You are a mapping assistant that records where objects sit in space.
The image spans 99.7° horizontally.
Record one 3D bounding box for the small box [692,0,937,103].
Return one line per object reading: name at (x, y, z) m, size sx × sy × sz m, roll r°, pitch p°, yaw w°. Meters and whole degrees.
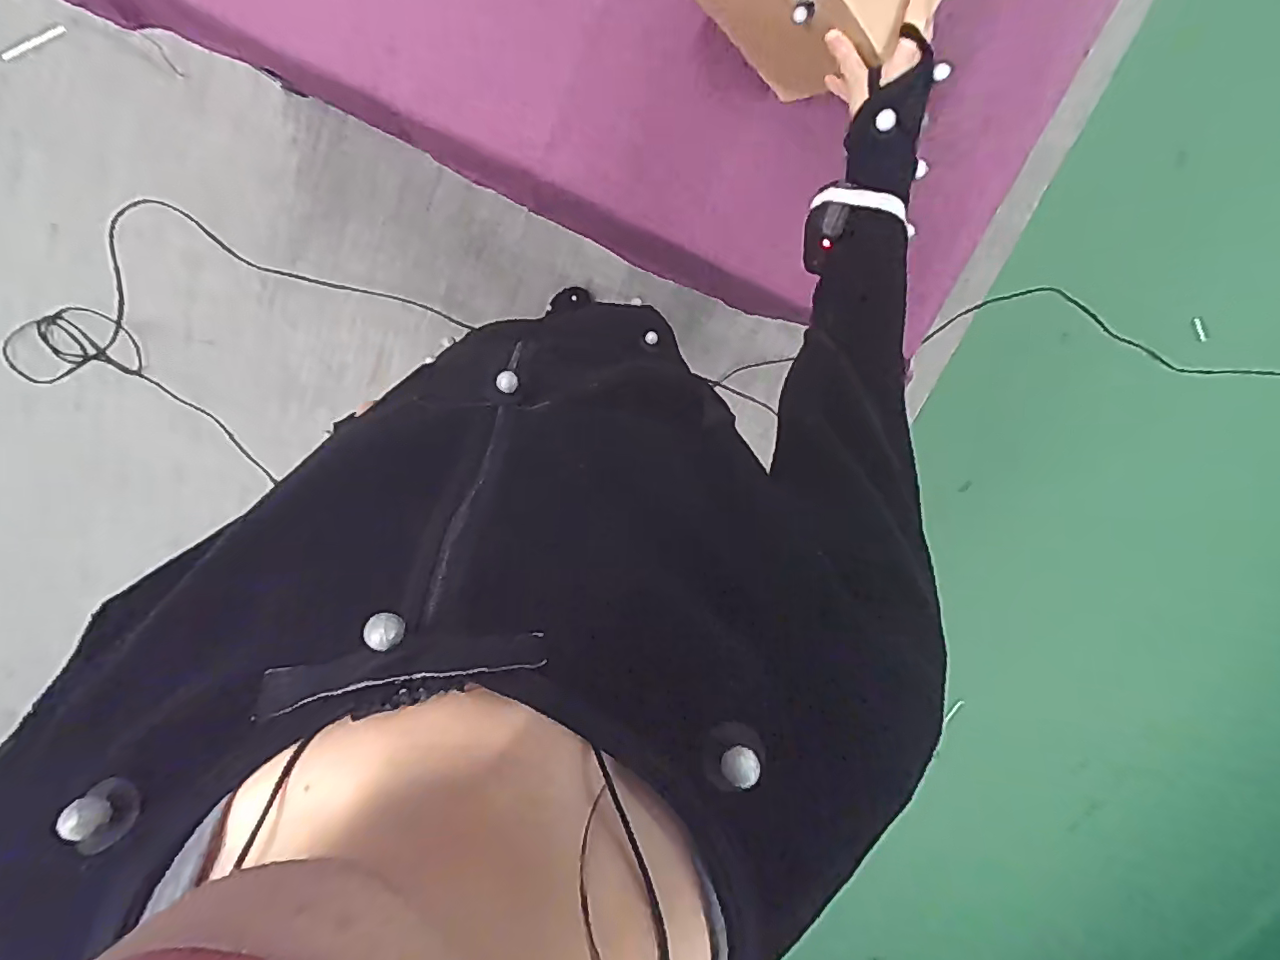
small box at (0.172, -0.496, 0.506) m, size 0.179 × 0.176 × 0.168 m, roll 27°, pitch 100°, yaw -32°
